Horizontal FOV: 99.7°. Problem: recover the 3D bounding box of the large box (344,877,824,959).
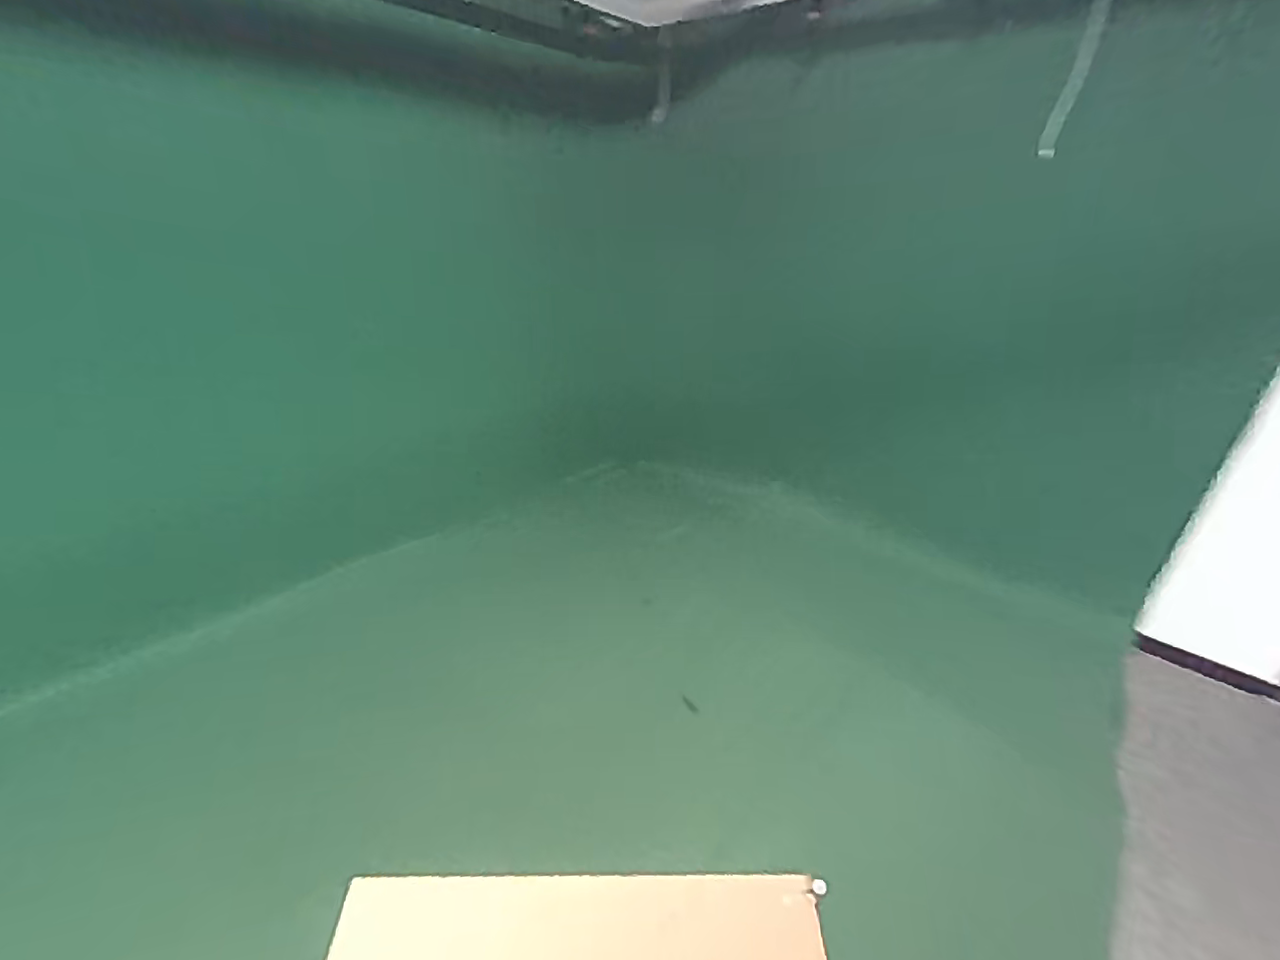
[{"bbox_3d":[-0.051,0.574,0.471,0.408,0.320,0.320,2,43,-2],"label":"large box"}]
